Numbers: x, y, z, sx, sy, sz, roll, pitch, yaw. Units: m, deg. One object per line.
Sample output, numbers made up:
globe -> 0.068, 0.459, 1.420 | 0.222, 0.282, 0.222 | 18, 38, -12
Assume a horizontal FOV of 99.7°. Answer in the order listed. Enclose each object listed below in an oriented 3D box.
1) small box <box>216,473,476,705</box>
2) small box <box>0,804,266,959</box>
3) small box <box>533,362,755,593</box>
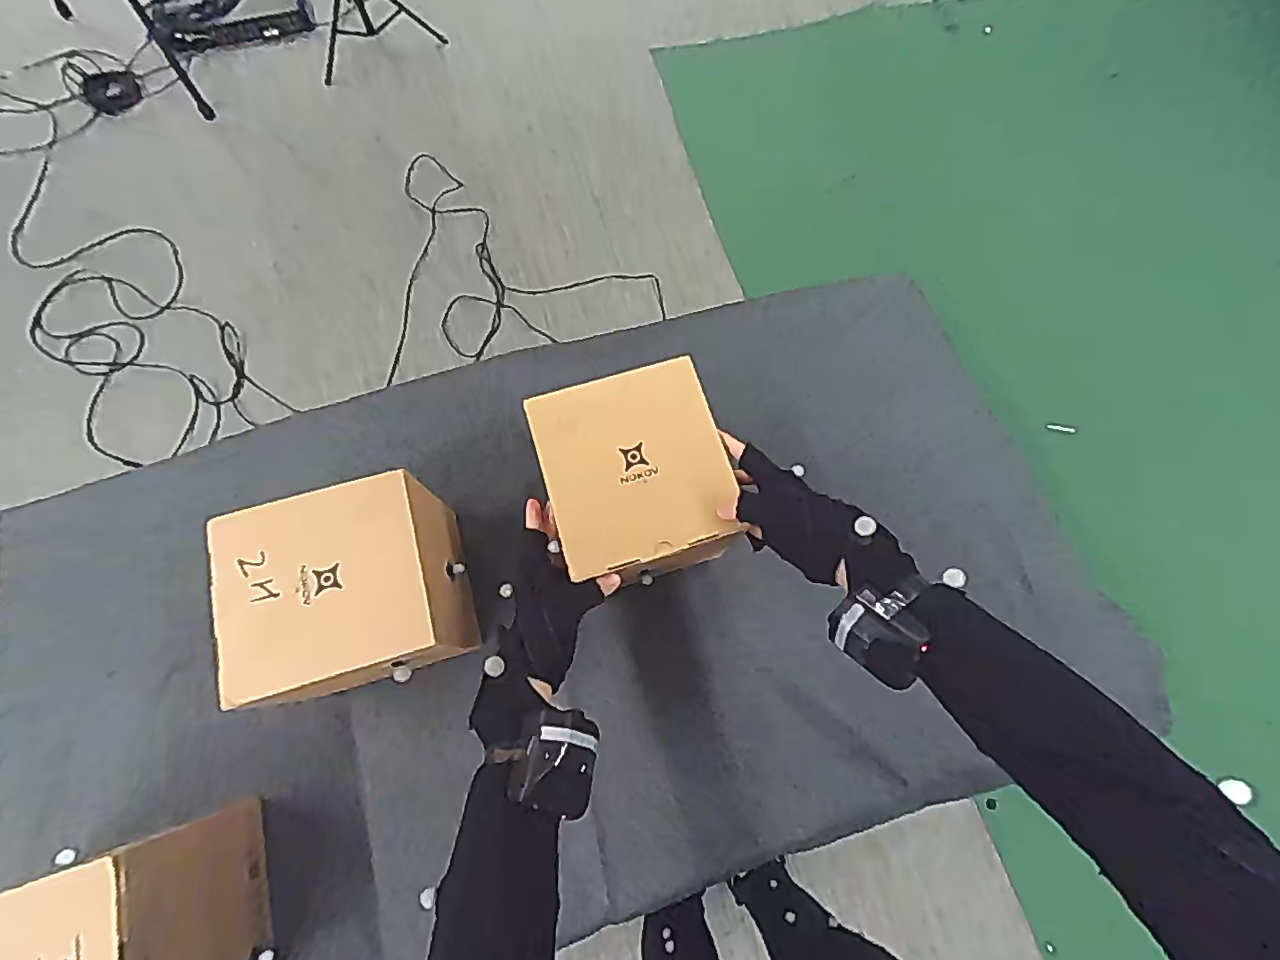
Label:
small box -> -0.275, 0.111, 0.544 | 0.179, 0.176, 0.168 | -15, 73, -7
small box -> -0.442, 0.396, 0.443 | 0.179, 0.176, 0.168 | -17, 72, -7
small box -> -0.004, 0.008, 0.565 | 0.168, 0.176, 0.179 | -16, 76, -7
